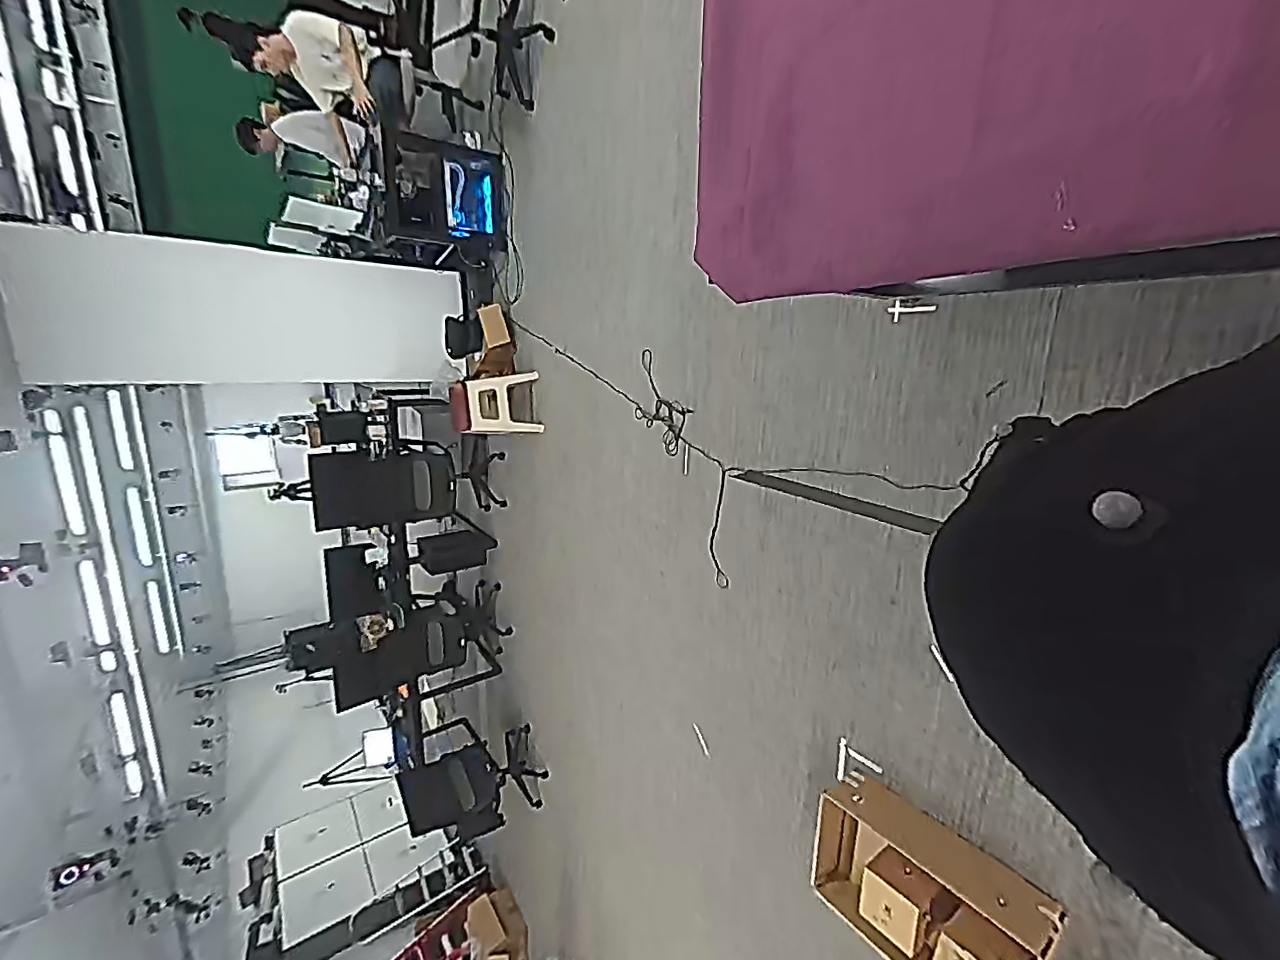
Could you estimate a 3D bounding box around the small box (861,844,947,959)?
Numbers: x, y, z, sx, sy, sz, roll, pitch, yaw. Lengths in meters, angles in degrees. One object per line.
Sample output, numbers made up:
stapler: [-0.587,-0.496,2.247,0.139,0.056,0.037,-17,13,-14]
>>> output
small box: [0.789,1.244,1.613,0.168,0.176,0.179,17,110,52]
